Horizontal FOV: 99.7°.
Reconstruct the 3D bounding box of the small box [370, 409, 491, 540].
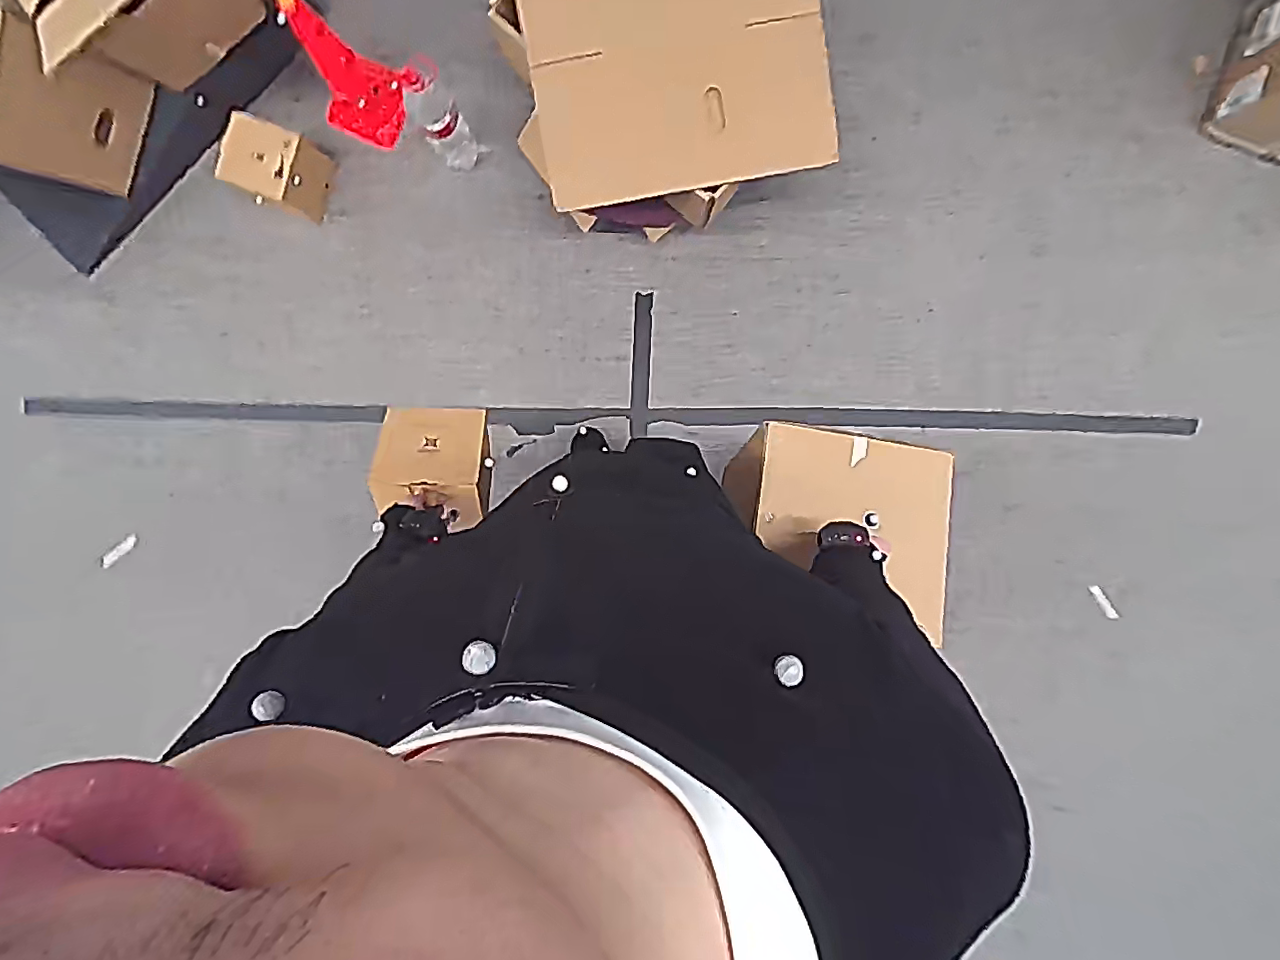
[{"bbox_3d":[-0.360,-0.005,0.965,0.168,0.176,0.179,1,51,-10],"label":"small box"}]
